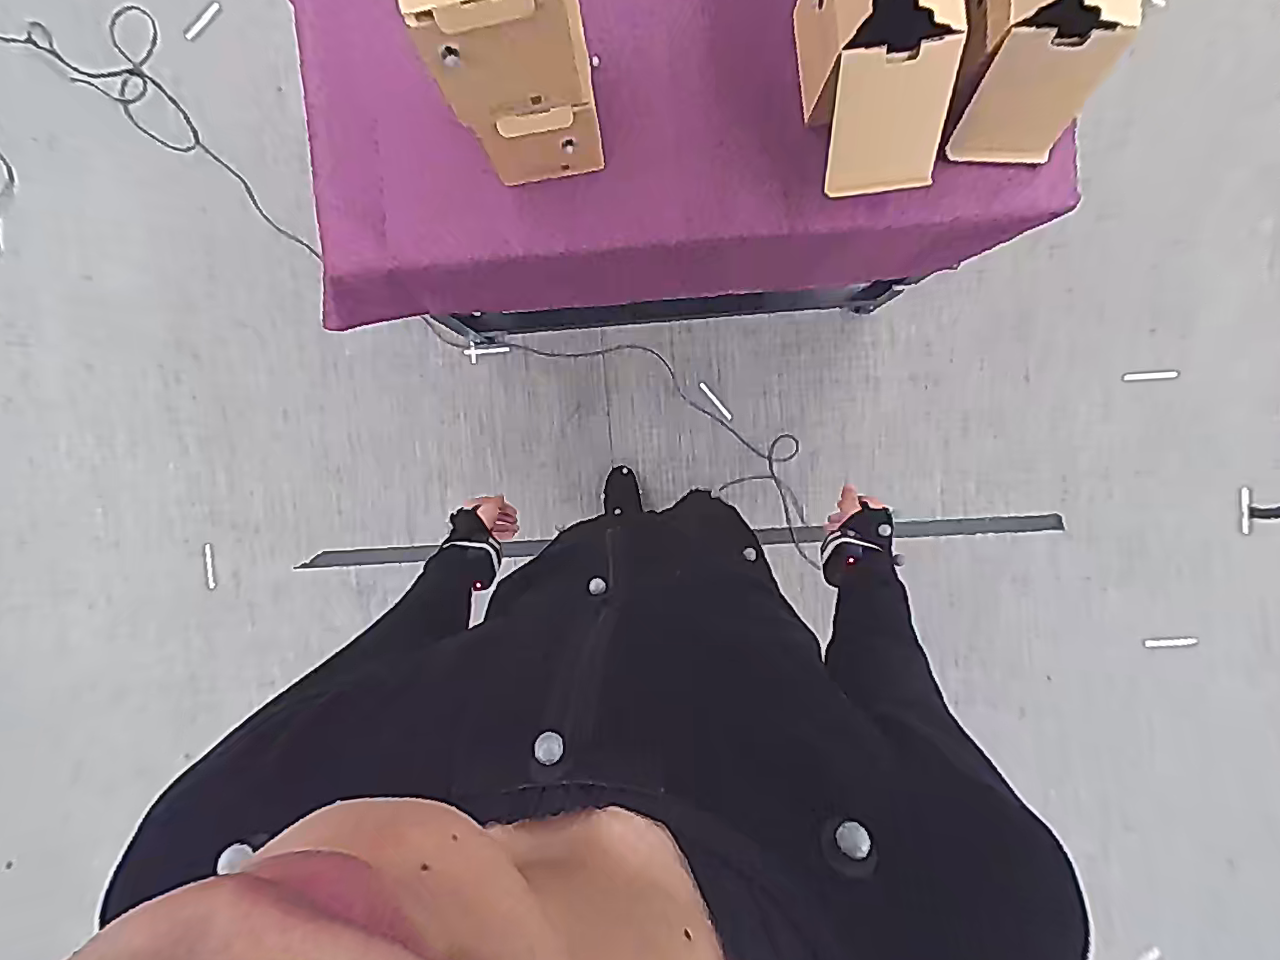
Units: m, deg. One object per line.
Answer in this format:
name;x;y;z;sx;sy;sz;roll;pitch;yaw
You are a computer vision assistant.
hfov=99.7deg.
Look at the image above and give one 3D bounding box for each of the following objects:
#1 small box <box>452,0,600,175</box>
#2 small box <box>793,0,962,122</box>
small box;-0.155;-0.572;0.788;0.168;0.176;0.179;-8;93;1
small box;0.326;-0.657;0.773;0.168;0.176;0.179;-7;93;2
